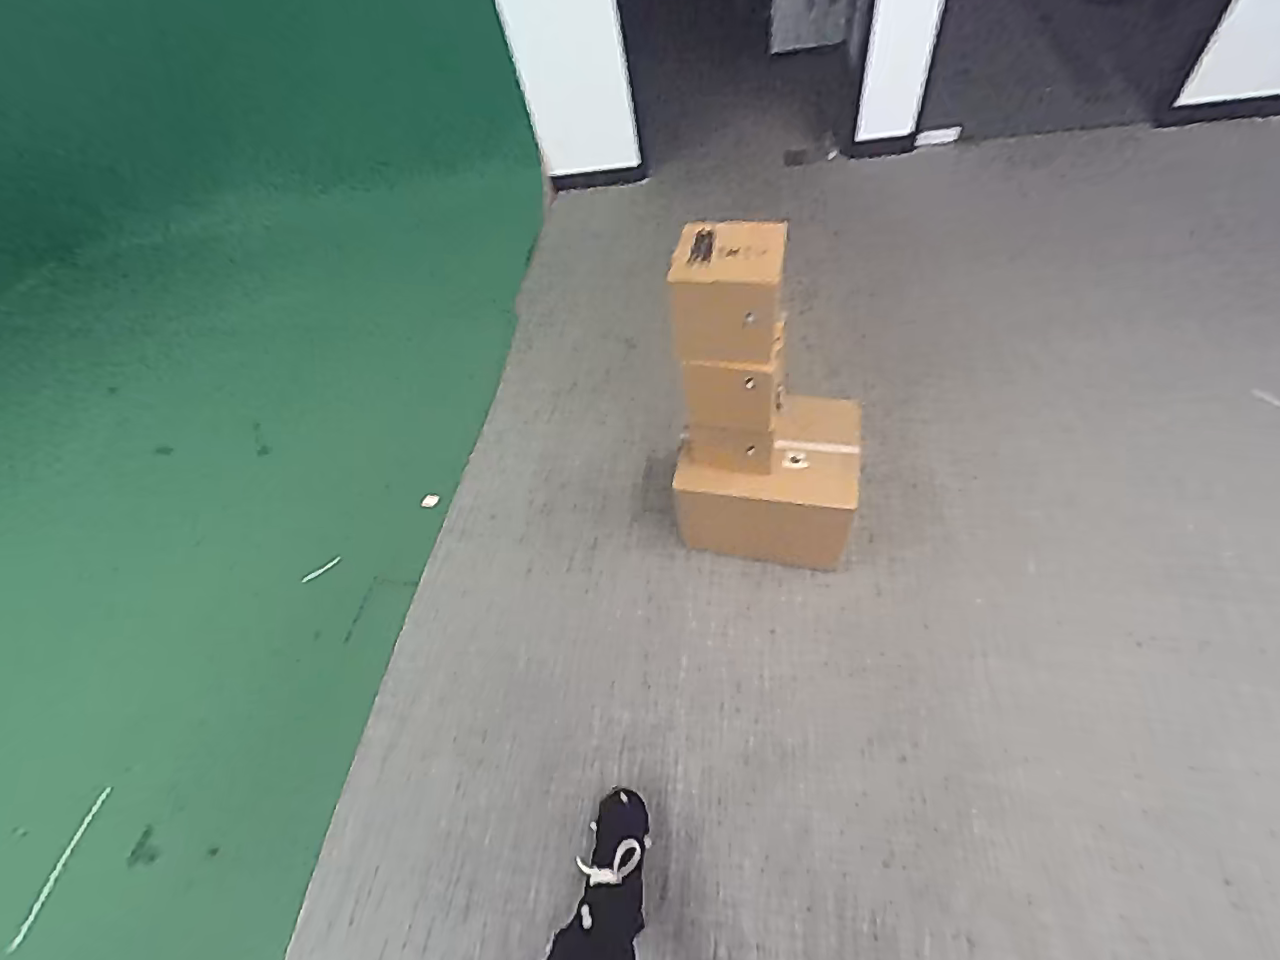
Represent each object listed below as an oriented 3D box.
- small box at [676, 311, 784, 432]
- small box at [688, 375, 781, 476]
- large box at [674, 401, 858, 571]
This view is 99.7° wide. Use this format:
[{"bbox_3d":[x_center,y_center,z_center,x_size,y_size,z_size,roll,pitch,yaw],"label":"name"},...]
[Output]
[{"bbox_3d":[0.180,-0.212,1.070,0.179,0.176,0.168,9,56,15],"label":"small box"},{"bbox_3d":[0.213,-0.124,1.203,0.179,0.176,0.168,6,55,16],"label":"small box"},{"bbox_3d":[0.318,0.010,1.388,0.408,0.320,0.320,7,58,14],"label":"large box"}]
